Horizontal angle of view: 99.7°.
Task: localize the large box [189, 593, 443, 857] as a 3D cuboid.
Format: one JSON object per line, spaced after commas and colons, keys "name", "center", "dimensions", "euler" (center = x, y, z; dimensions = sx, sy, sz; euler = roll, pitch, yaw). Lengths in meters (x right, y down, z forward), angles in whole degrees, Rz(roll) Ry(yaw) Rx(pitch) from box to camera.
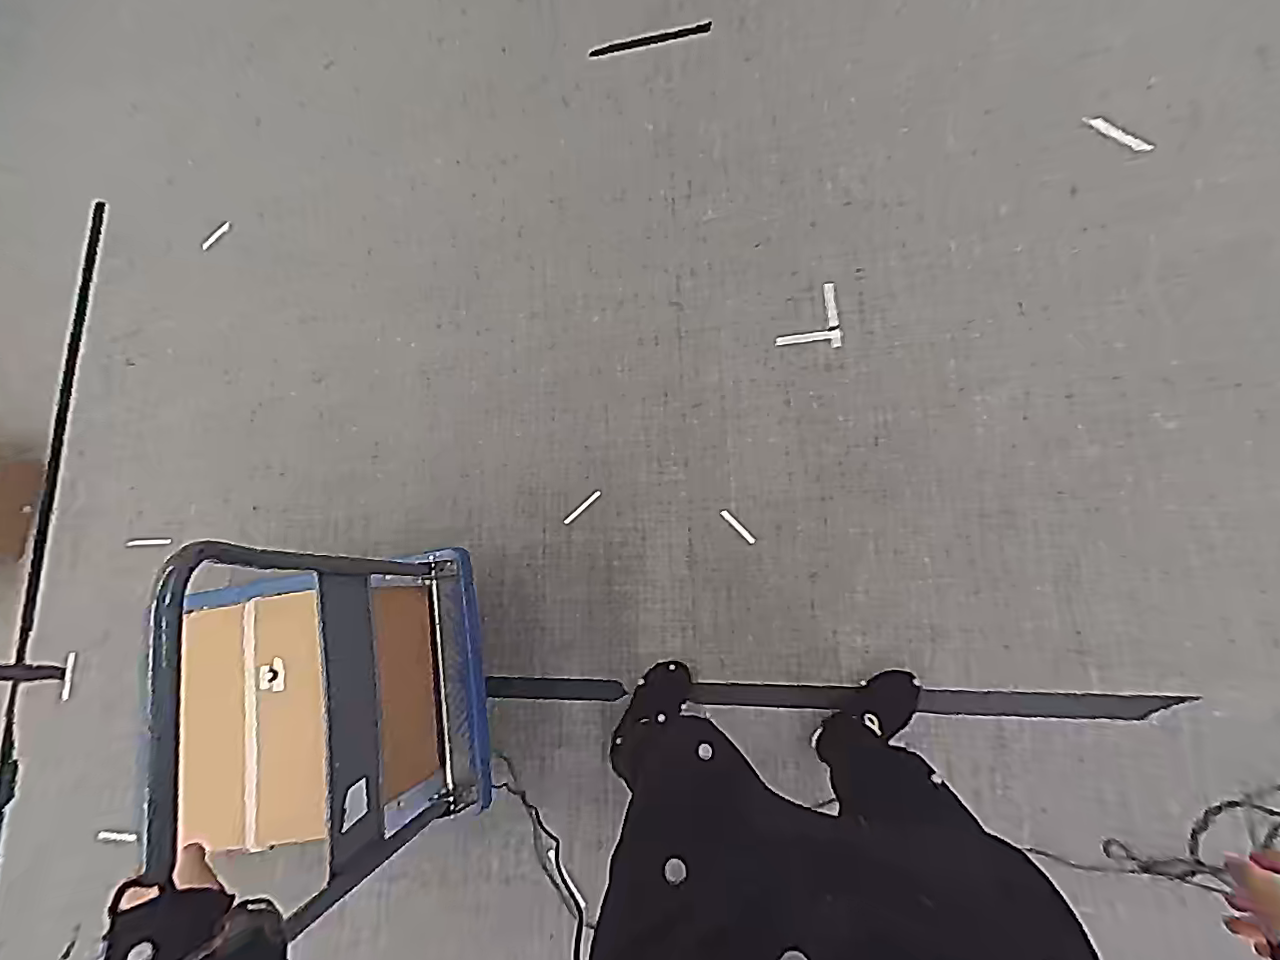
{"name": "large box", "center": [-0.628, 0.454, 1.087], "dimensions": [0.320, 0.320, 0.408], "euler": [-11, 76, 8]}
